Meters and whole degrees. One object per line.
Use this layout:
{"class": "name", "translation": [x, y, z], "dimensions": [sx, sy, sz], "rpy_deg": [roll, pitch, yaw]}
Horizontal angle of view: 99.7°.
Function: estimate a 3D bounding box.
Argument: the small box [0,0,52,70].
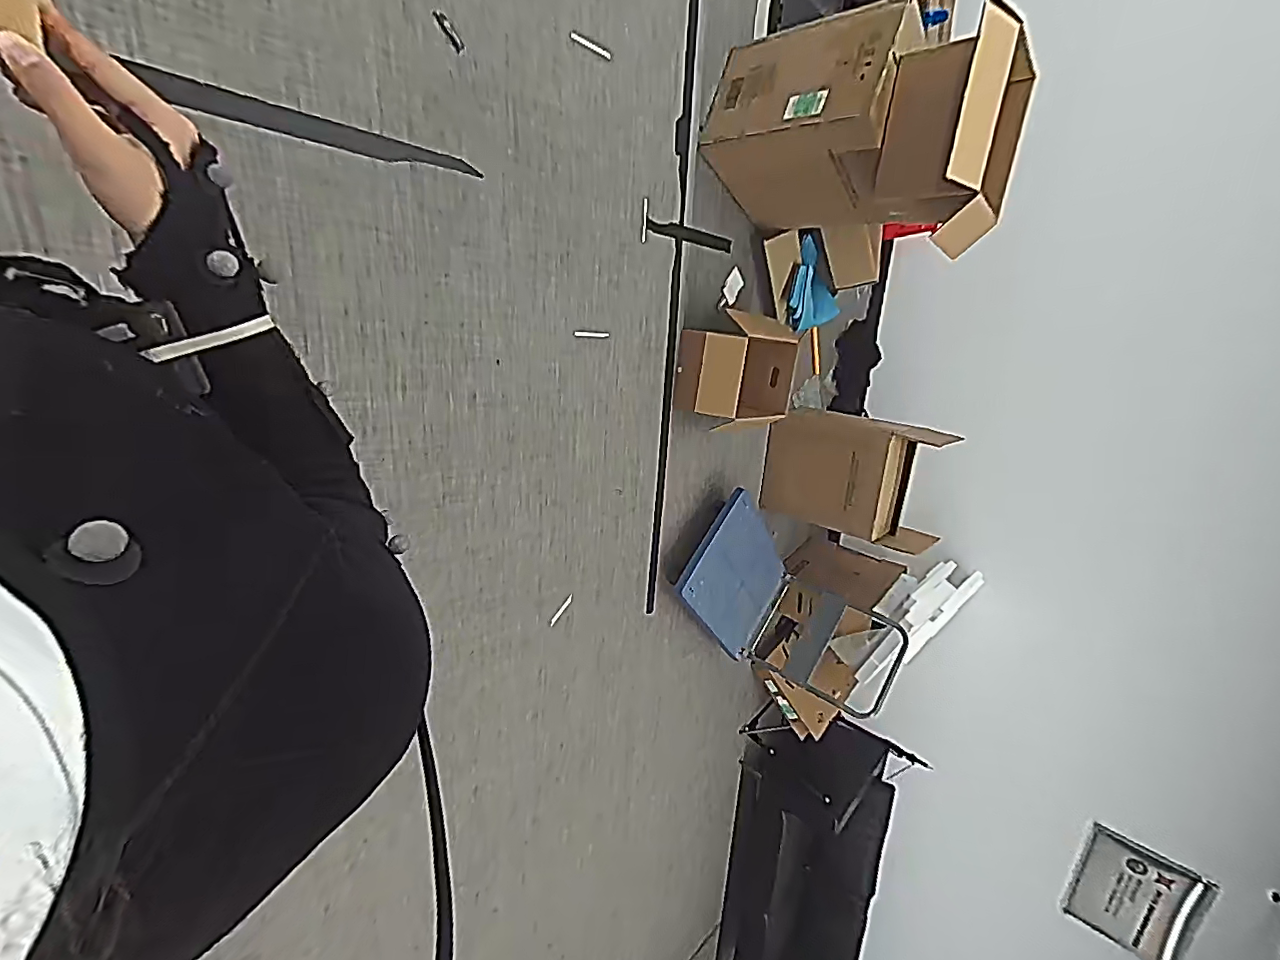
{"class": "small box", "translation": [-0.400, -0.314, 0.235], "dimensions": [0.179, 0.176, 0.168], "rpy_deg": [-9, 121, -48]}
